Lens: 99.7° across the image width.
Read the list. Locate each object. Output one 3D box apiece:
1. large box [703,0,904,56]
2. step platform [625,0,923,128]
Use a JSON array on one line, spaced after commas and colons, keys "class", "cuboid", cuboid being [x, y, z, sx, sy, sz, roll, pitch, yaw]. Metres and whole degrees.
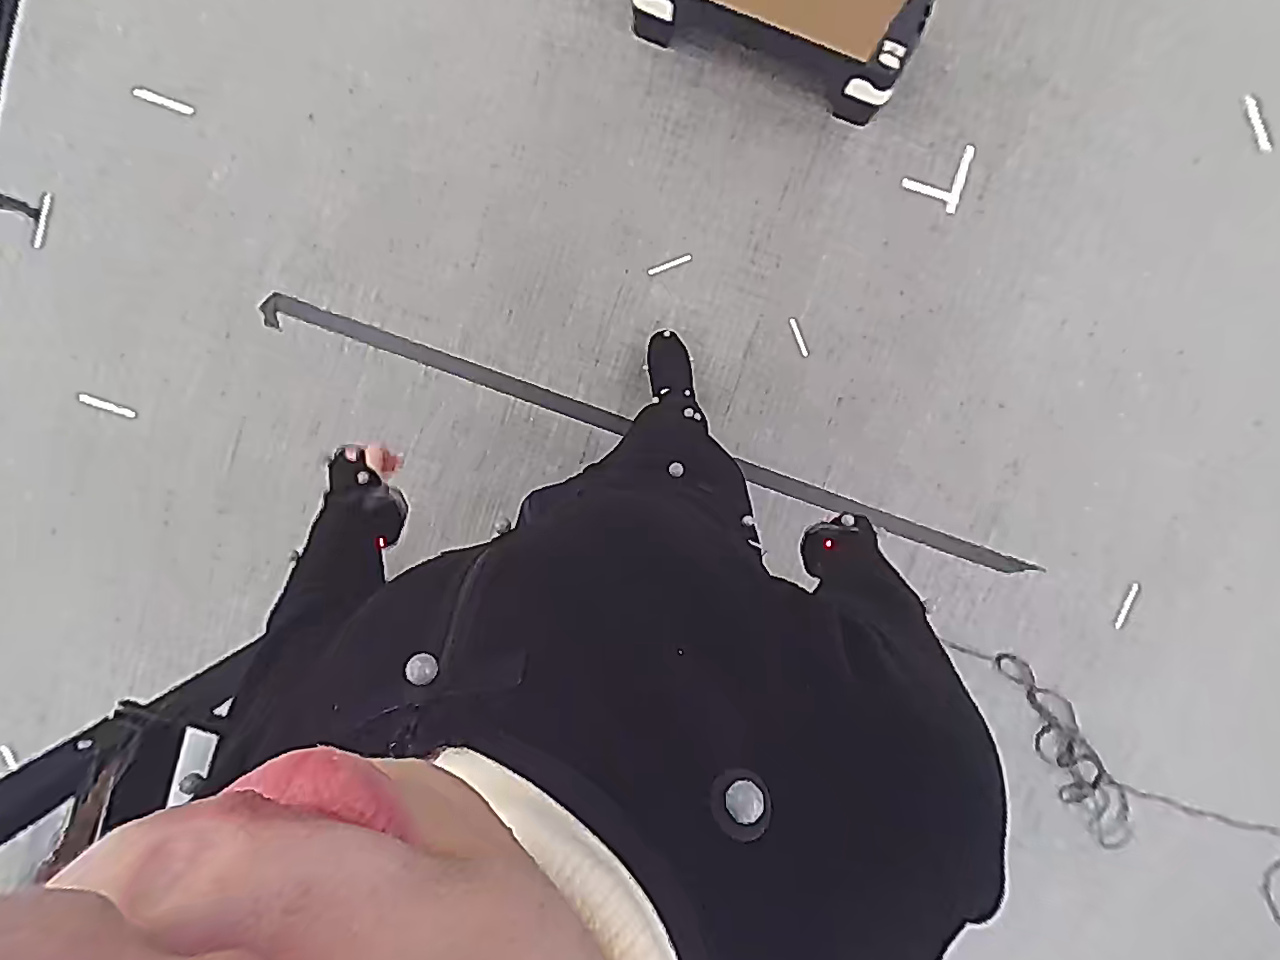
[{"class": "large box", "cuboid": [0.367, -1.128, 1.044, 0.408, 0.320, 0.320, 19, 95, -1]}, {"class": "step platform", "cuboid": [0.309, -1.152, 1.280, 0.684, 0.204, 0.286, 25, 95, -2]}]
